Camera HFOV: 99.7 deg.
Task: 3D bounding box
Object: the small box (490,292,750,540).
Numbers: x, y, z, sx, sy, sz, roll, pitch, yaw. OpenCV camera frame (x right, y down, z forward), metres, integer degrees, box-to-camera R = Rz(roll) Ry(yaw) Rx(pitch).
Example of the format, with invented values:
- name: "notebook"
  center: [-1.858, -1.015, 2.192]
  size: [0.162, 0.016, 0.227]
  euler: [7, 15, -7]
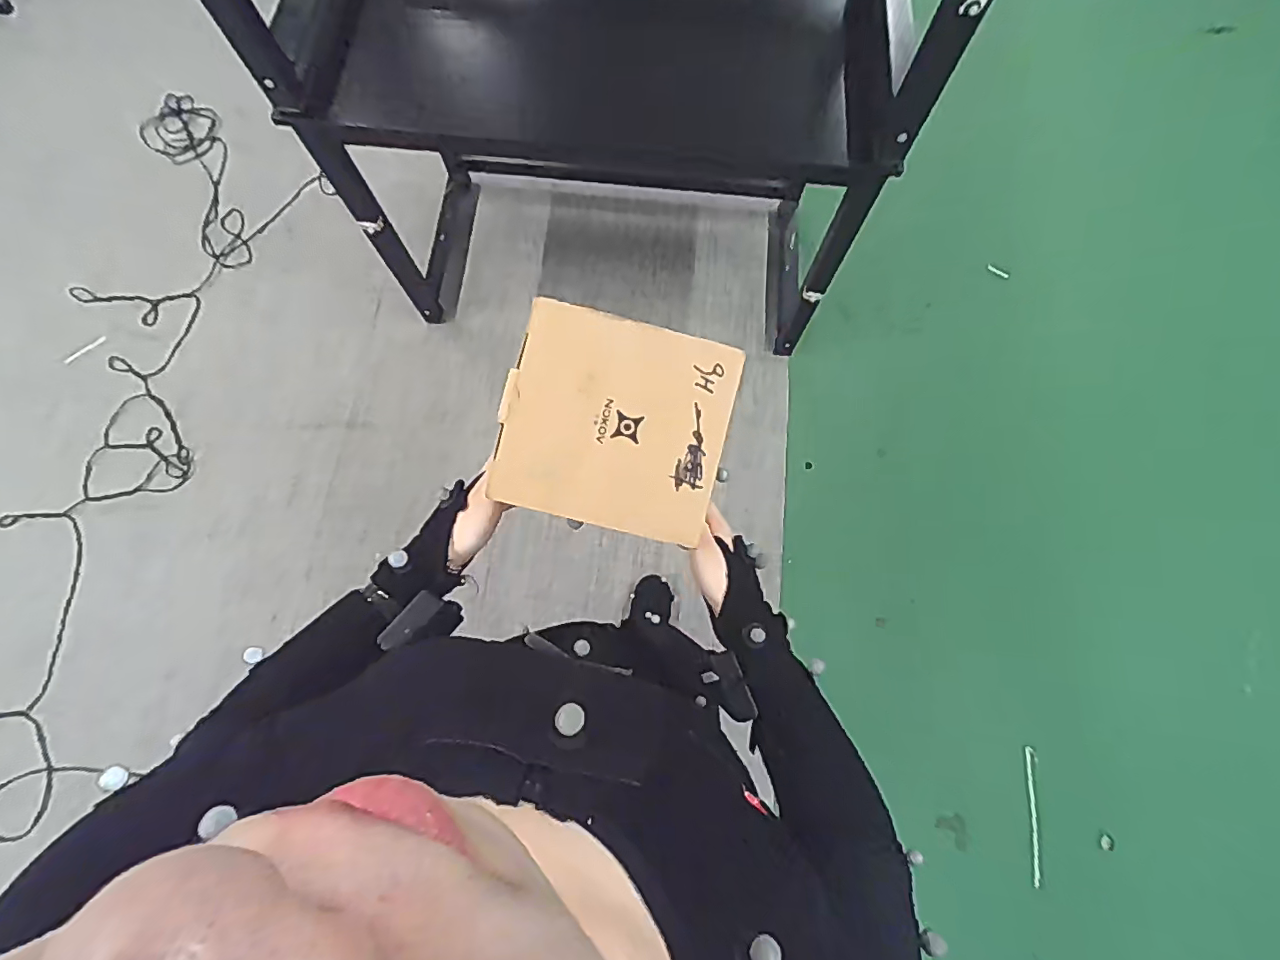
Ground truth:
- name: "small box"
  center: [-0.018, -0.051, 0.508]
  size: [0.179, 0.176, 0.168]
  euler: [14, 90, -2]
